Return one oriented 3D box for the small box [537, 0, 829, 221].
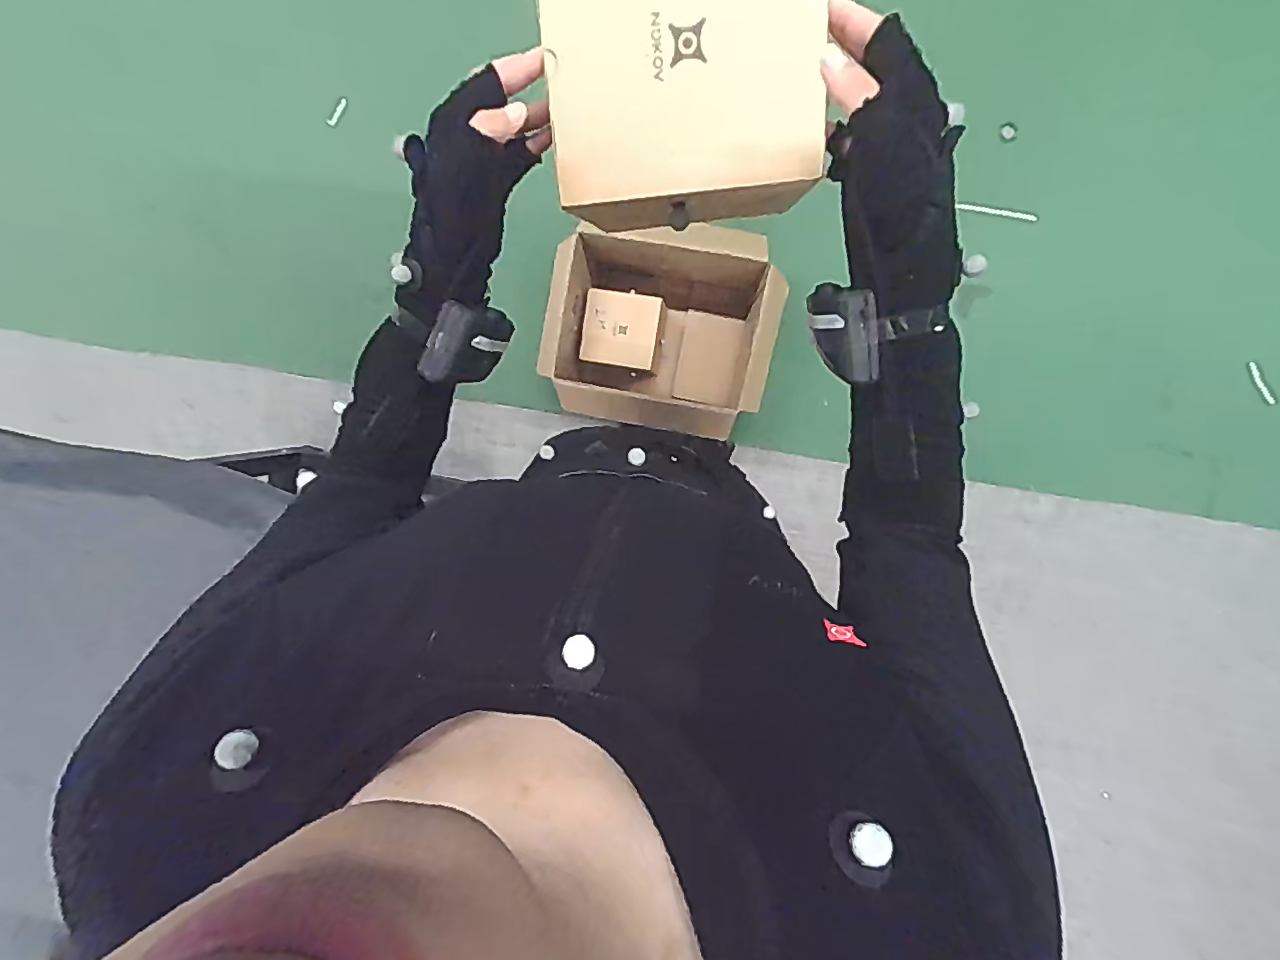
[{"bbox_3d":[0.034,-0.296,0.401,0.179,0.176,0.168,-2,110,9],"label":"small box"}]
